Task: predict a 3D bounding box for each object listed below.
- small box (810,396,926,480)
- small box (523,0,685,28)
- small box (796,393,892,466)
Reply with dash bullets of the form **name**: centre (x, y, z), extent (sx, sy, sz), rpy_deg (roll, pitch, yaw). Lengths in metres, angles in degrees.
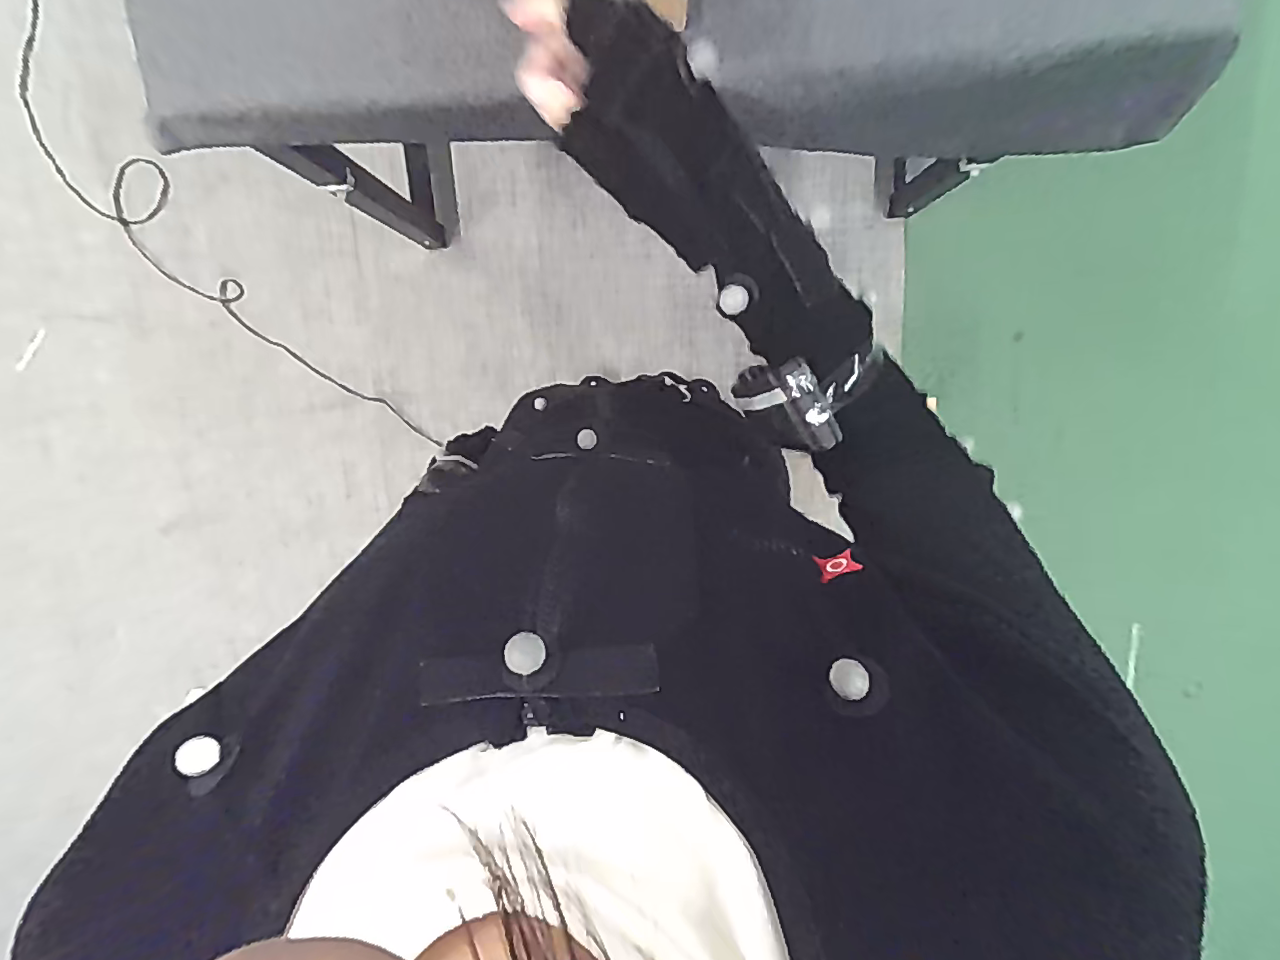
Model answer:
- **small box**: centre (0.480, -0.095, 1.160), extent (0.179, 0.176, 0.168), rpy_deg (0, 99, 1)
- **small box**: centre (-0.039, -0.563, 0.501), extent (0.179, 0.176, 0.168), rpy_deg (1, 100, 0)
- **small box**: centre (0.493, -0.125, 1.321), extent (0.179, 0.176, 0.168), rpy_deg (-3, 99, 2)
